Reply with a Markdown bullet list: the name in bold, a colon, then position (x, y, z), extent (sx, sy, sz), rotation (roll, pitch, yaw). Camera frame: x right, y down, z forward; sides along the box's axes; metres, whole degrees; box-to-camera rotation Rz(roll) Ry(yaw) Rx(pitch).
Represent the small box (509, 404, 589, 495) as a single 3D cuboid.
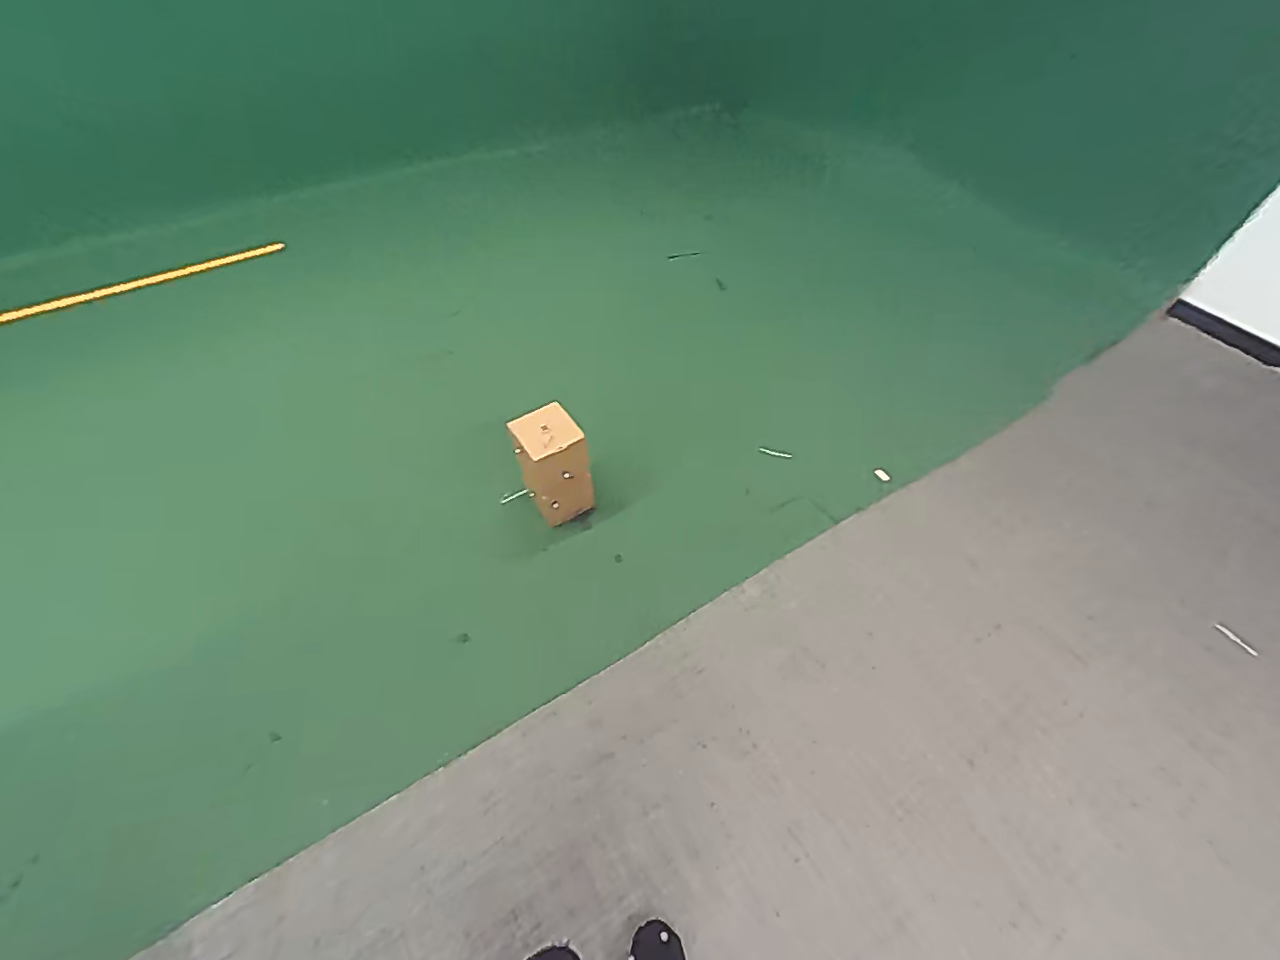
- **small box**: position (-0.268, -0.089, 1.612), extent (0.168, 0.176, 0.179), rotation (-28, 58, -20)
